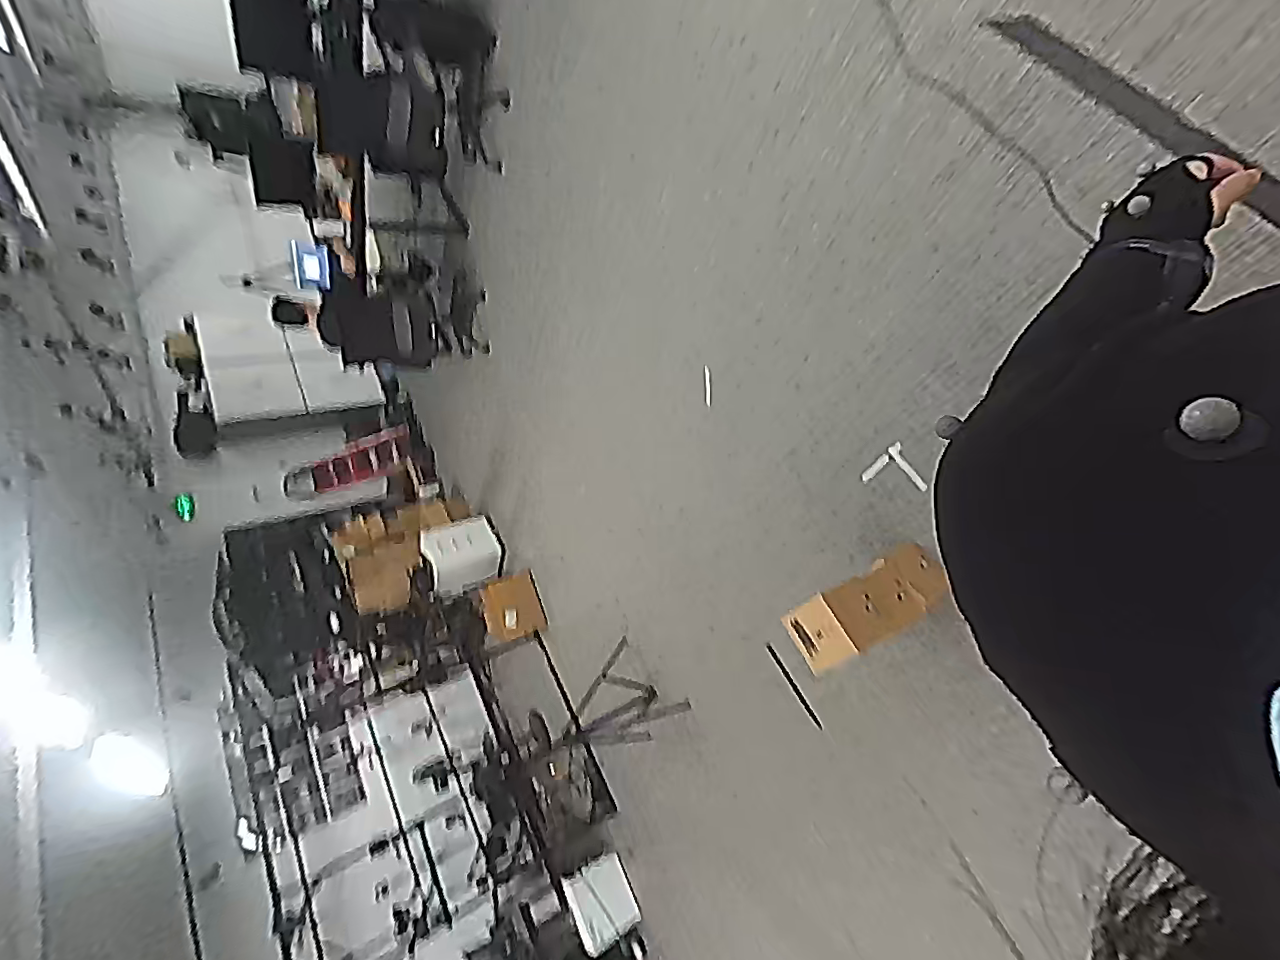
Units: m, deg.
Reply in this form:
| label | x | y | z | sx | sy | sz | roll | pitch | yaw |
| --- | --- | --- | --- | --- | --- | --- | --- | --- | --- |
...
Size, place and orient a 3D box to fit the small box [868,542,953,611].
| label | x | y | z | sx | sy | sz | roll | pitch | yaw |
| --- | --- | --- | --- | --- | --- | --- | --- | --- | --- |
| small box | 0.779 | 0.313 | 1.599 | 0.168 | 0.176 | 0.179 | 50 | 139 | 31 |

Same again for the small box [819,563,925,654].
| label | x | y | z | sx | sy | sz | roll | pitch | yaw |
| --- | --- | --- | --- | --- | --- | --- | --- | --- | --- |
| small box | 0.649 | 0.357 | 1.512 | 0.168 | 0.176 | 0.179 | 60 | 143 | 22 |
